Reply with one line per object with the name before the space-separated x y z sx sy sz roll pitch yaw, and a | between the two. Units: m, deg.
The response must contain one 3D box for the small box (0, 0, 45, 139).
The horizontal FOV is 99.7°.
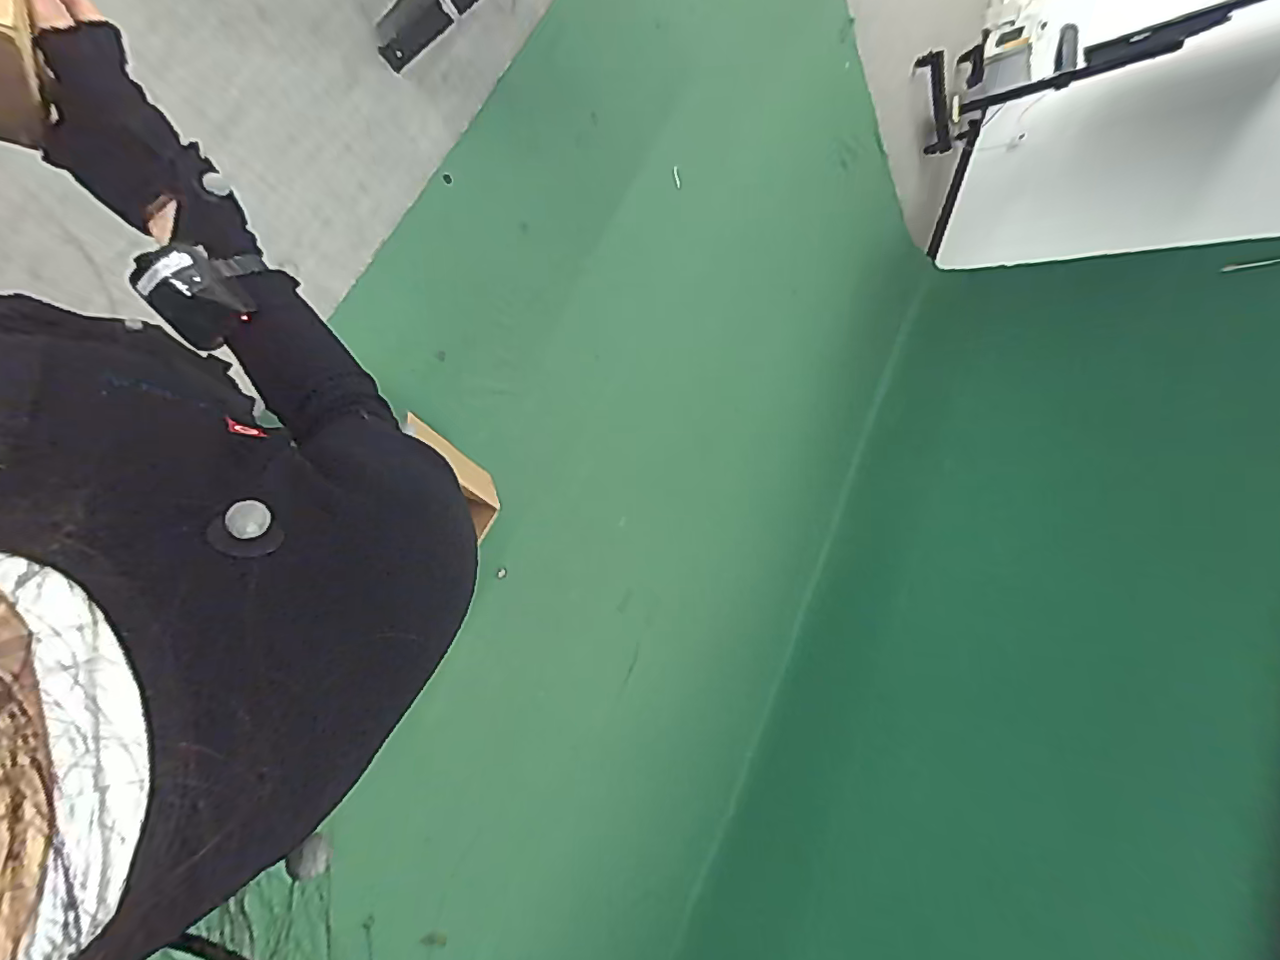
small box | -0.452 -0.330 0.291 0.168 0.176 0.179 -2 97 -44
